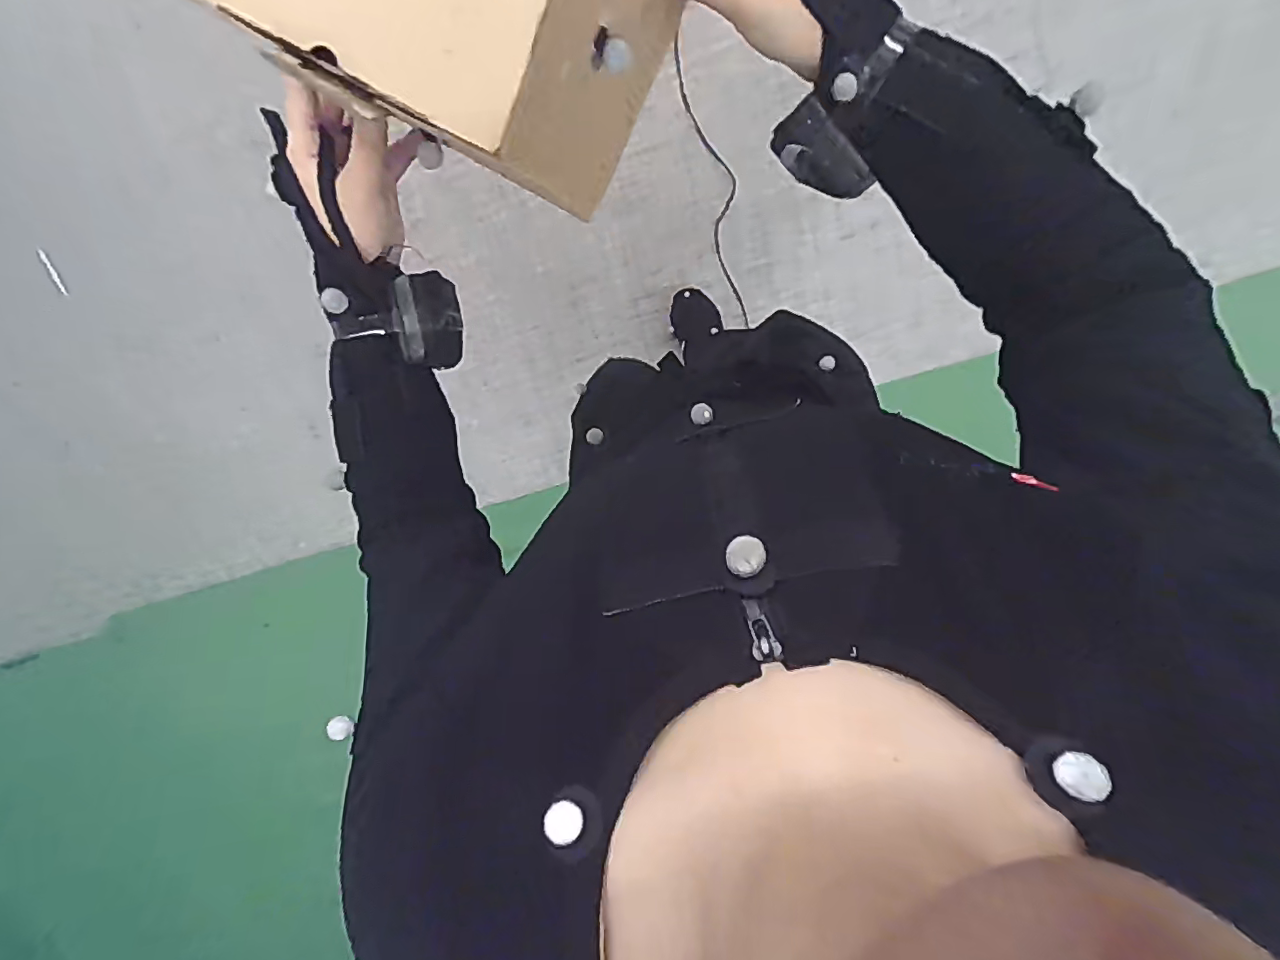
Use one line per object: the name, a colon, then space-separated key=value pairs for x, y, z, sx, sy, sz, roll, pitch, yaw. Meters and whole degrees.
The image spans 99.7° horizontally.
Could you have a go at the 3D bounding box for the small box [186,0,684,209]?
small box: x=-0.081 y=-0.269 z=0.279 sx=0.168 sy=0.176 sz=0.179 roll=28 pitch=110 yaw=0
